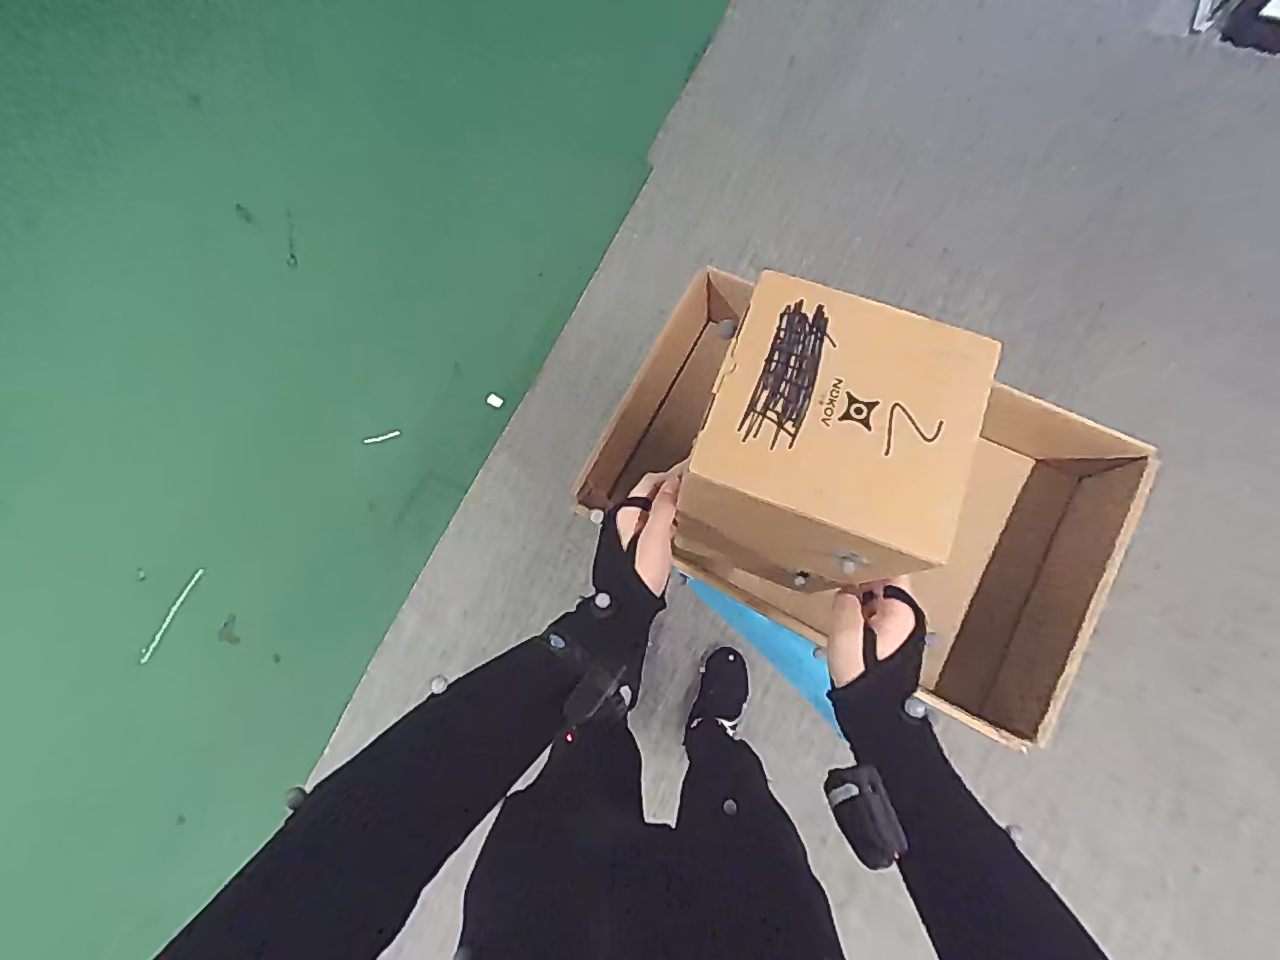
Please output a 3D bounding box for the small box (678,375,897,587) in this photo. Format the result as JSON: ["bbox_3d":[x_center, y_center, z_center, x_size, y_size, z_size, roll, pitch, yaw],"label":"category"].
[{"bbox_3d":[0.148,0.013,0.603,0.179,0.176,0.168,19,77,7],"label":"small box"}]
